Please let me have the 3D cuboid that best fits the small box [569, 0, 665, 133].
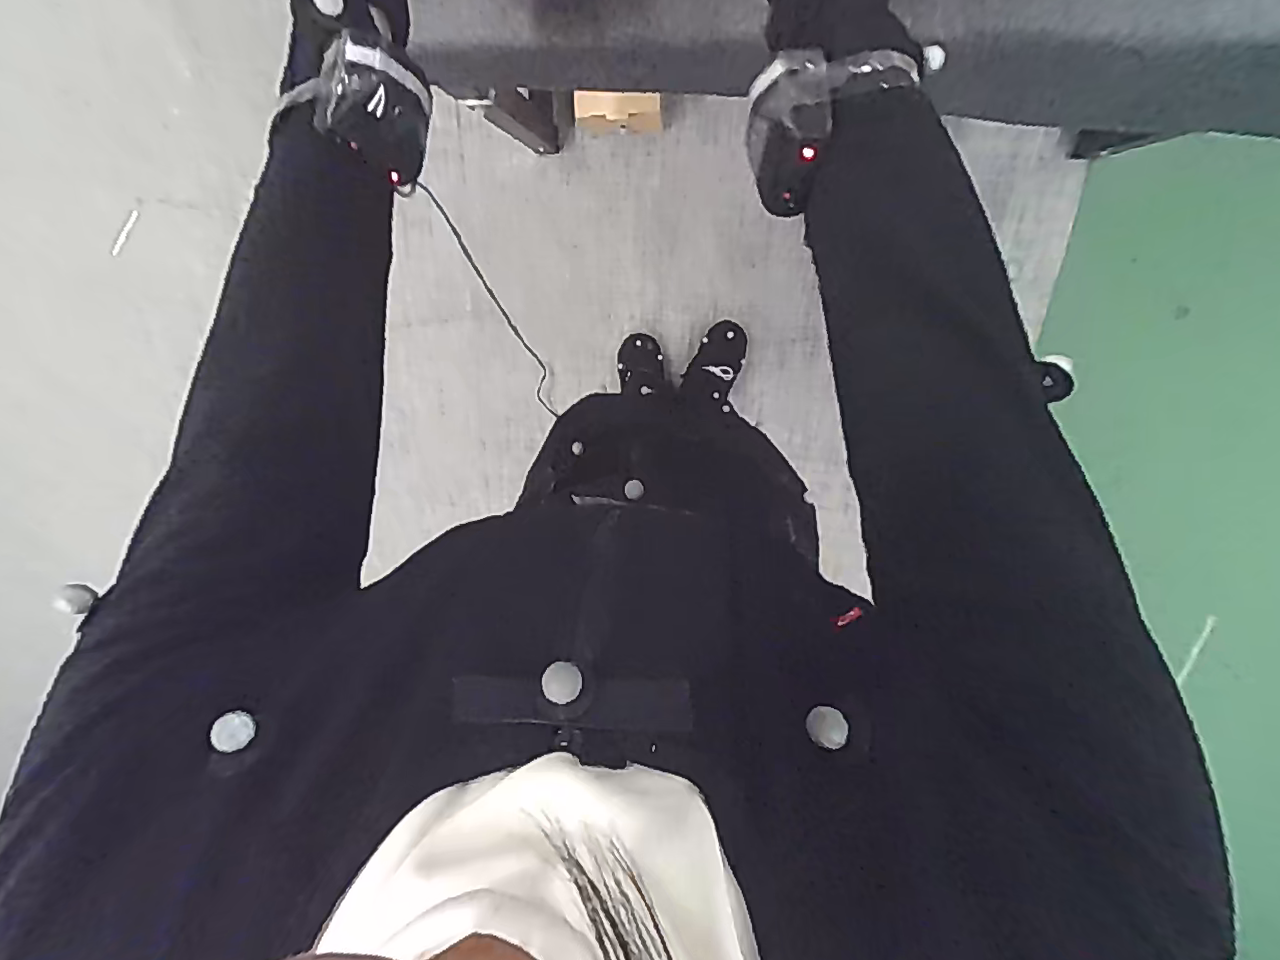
[{"bbox_3d":[-0.037,-0.802,1.070,0.168,0.176,0.179,0,112,5],"label":"small box"}]
